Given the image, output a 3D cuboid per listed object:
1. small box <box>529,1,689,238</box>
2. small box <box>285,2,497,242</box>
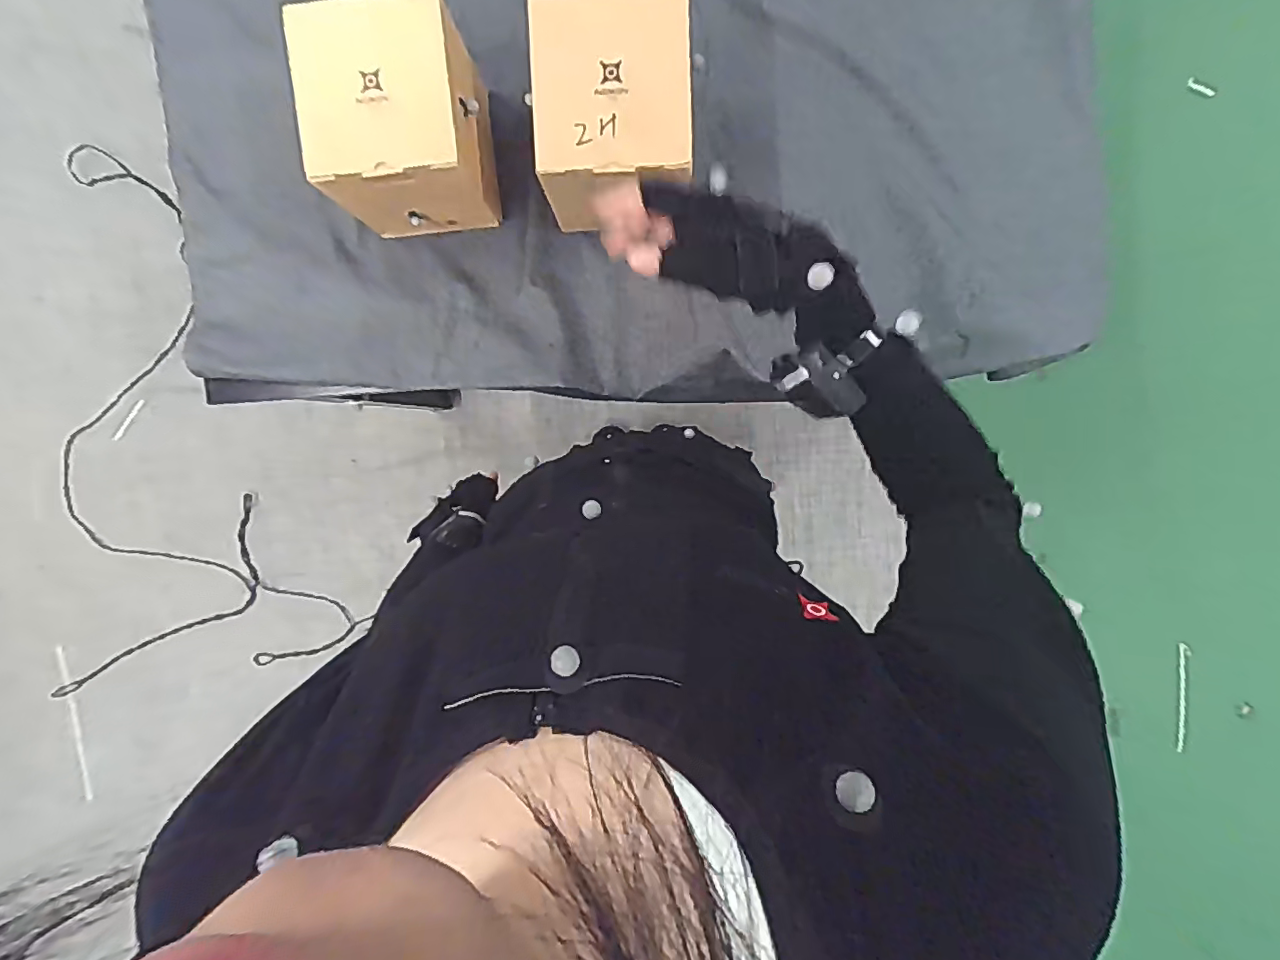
[{"bbox_3d":[-0.031,-0.408,0.638,0.168,0.176,0.179,-1,95,1],"label":"small box"},{"bbox_3d":[-0.279,-0.408,0.645,0.168,0.176,0.179,-6,95,1],"label":"small box"}]
